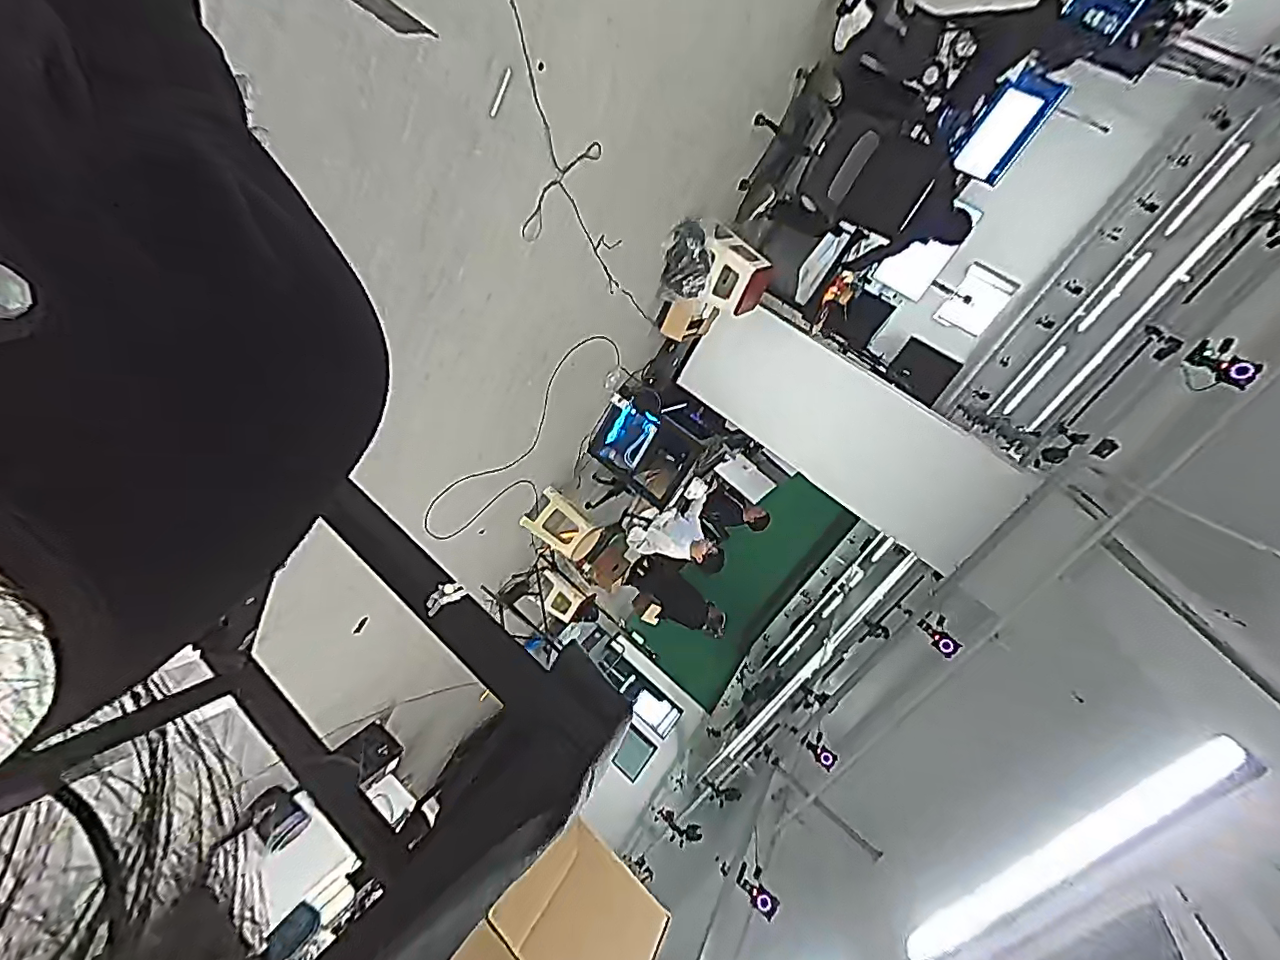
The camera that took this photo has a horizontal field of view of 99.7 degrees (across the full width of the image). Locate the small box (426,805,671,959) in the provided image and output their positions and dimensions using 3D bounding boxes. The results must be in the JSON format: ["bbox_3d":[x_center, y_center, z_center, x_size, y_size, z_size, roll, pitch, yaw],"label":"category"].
[{"bbox_3d":[-0.101,0.502,0.580,0.168,0.176,0.179,-52,165,15],"label":"small box"}]
